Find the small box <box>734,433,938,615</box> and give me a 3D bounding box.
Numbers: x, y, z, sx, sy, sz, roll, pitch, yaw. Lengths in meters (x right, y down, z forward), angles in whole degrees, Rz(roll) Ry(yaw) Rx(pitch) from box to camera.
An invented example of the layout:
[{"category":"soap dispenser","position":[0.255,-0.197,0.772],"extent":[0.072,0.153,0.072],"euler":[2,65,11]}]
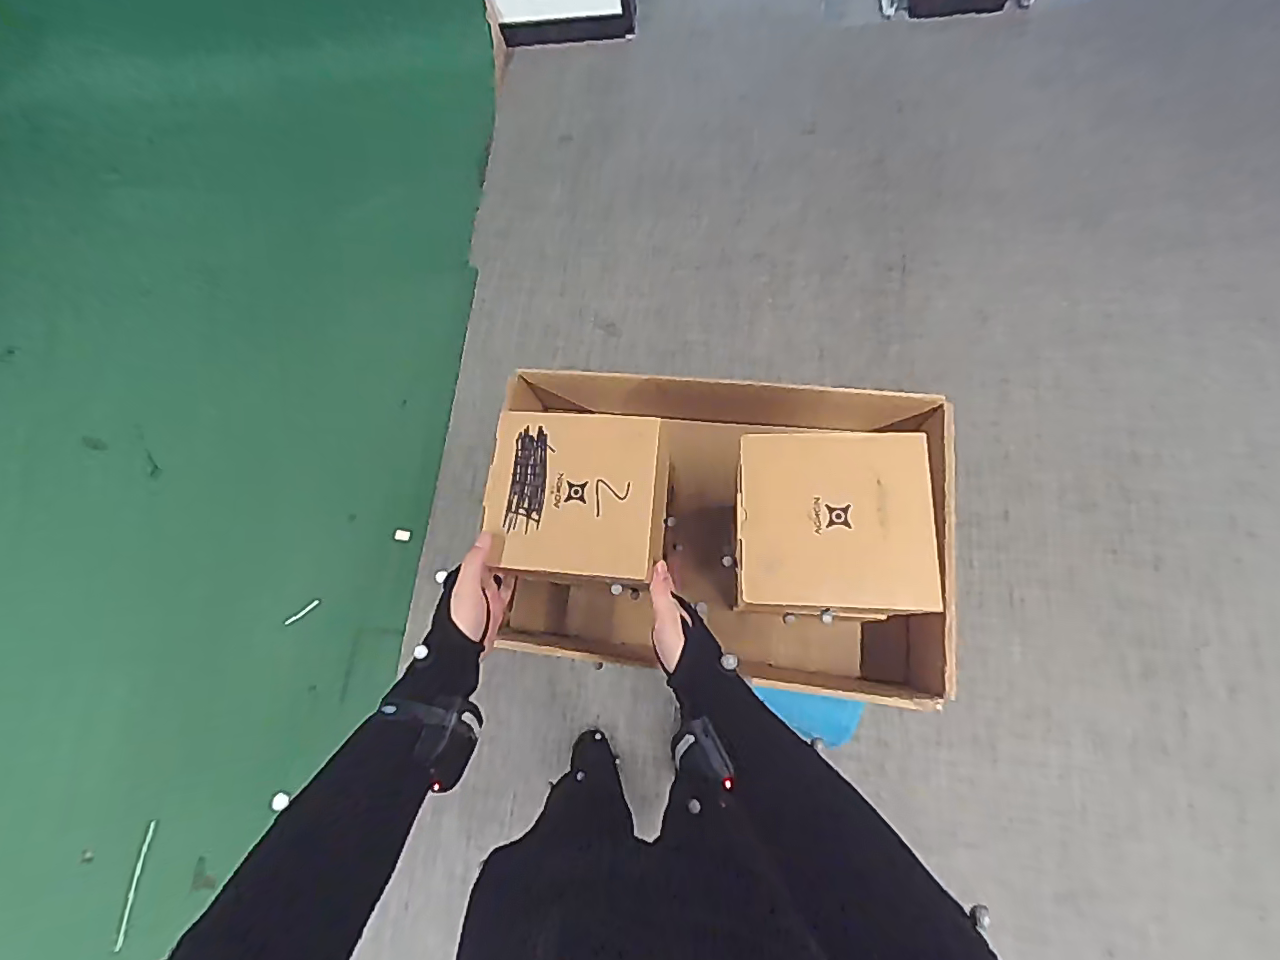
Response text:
[{"category":"small box","position":[0.191,0.055,0.578],"extent":[0.179,0.176,0.168],"euler":[0,76,10]}]
